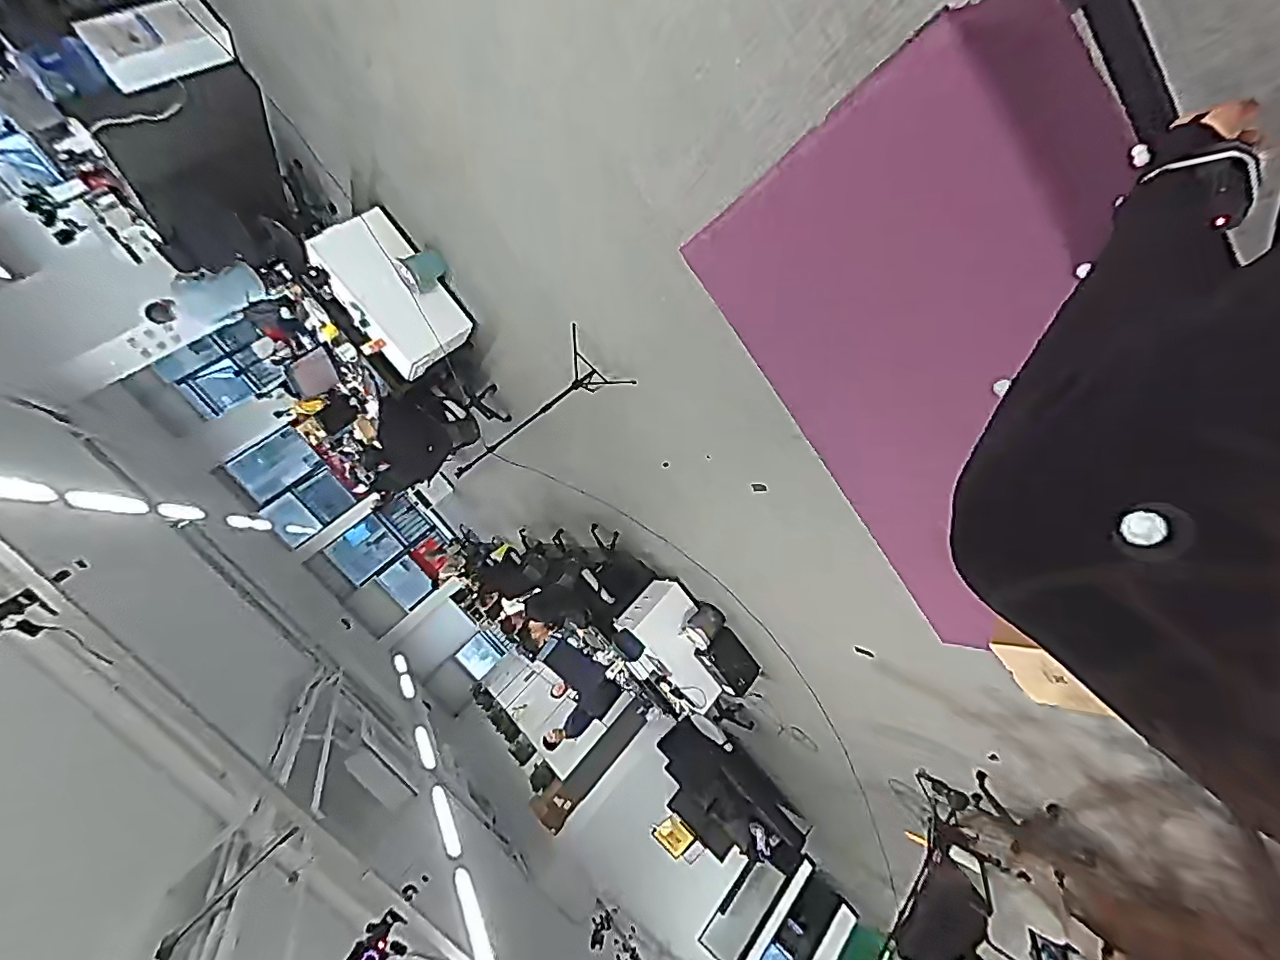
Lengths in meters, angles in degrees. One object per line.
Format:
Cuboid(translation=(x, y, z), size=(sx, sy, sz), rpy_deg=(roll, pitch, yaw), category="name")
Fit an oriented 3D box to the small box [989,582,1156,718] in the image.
Cuboid(translation=(0.821, 0.311, 1.028), size=(0.168, 0.176, 0.179), rpy_deg=(51, 156, -10), category="small box")
